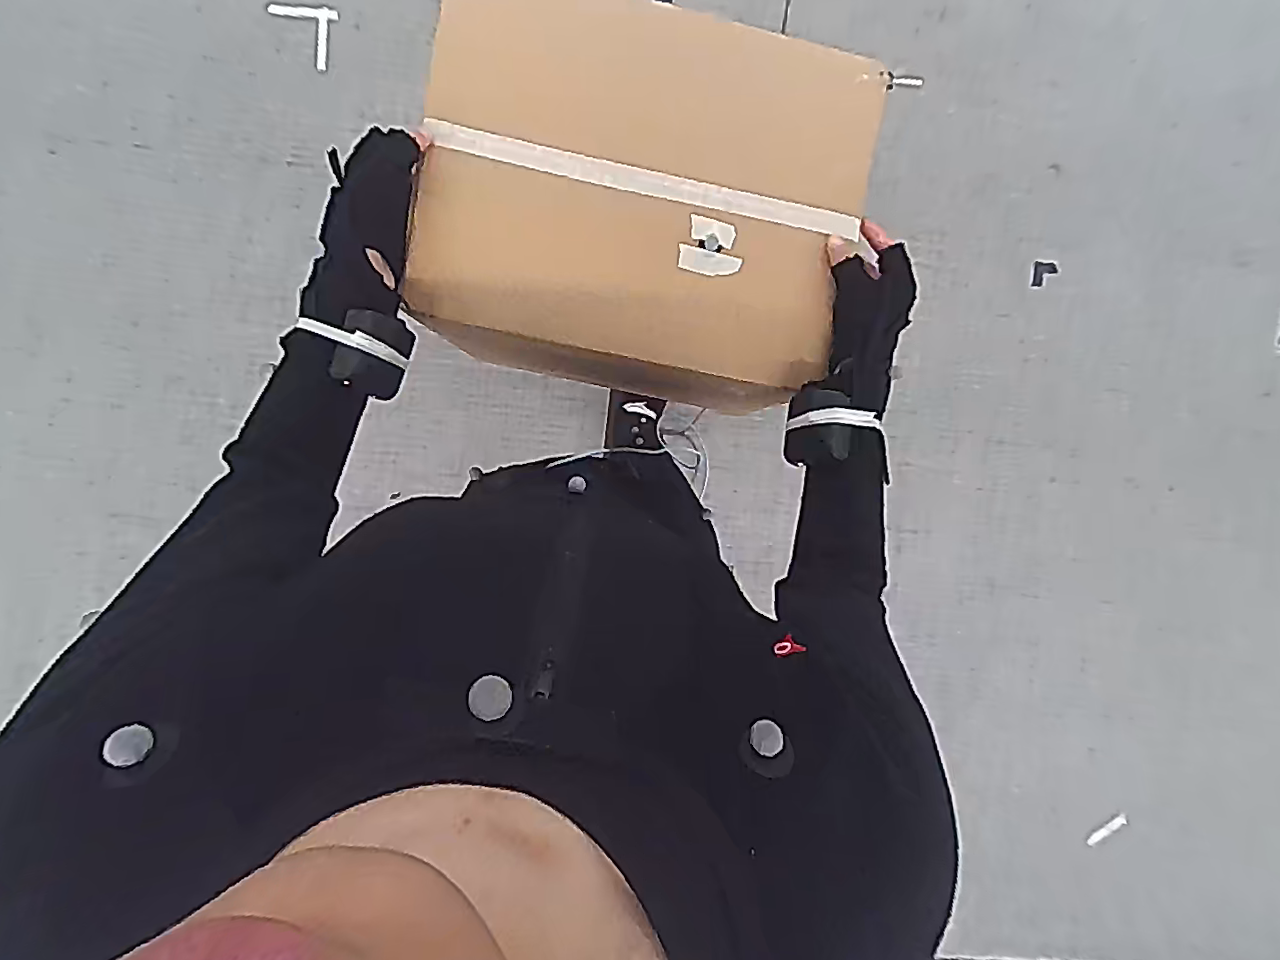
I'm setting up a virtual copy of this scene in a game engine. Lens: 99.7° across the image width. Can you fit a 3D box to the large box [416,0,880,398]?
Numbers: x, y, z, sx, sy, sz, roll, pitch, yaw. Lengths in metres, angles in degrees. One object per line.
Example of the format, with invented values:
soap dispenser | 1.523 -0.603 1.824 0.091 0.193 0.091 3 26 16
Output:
large box | -0.003 -0.294 0.655 0.408 0.320 0.320 11 95 -6
